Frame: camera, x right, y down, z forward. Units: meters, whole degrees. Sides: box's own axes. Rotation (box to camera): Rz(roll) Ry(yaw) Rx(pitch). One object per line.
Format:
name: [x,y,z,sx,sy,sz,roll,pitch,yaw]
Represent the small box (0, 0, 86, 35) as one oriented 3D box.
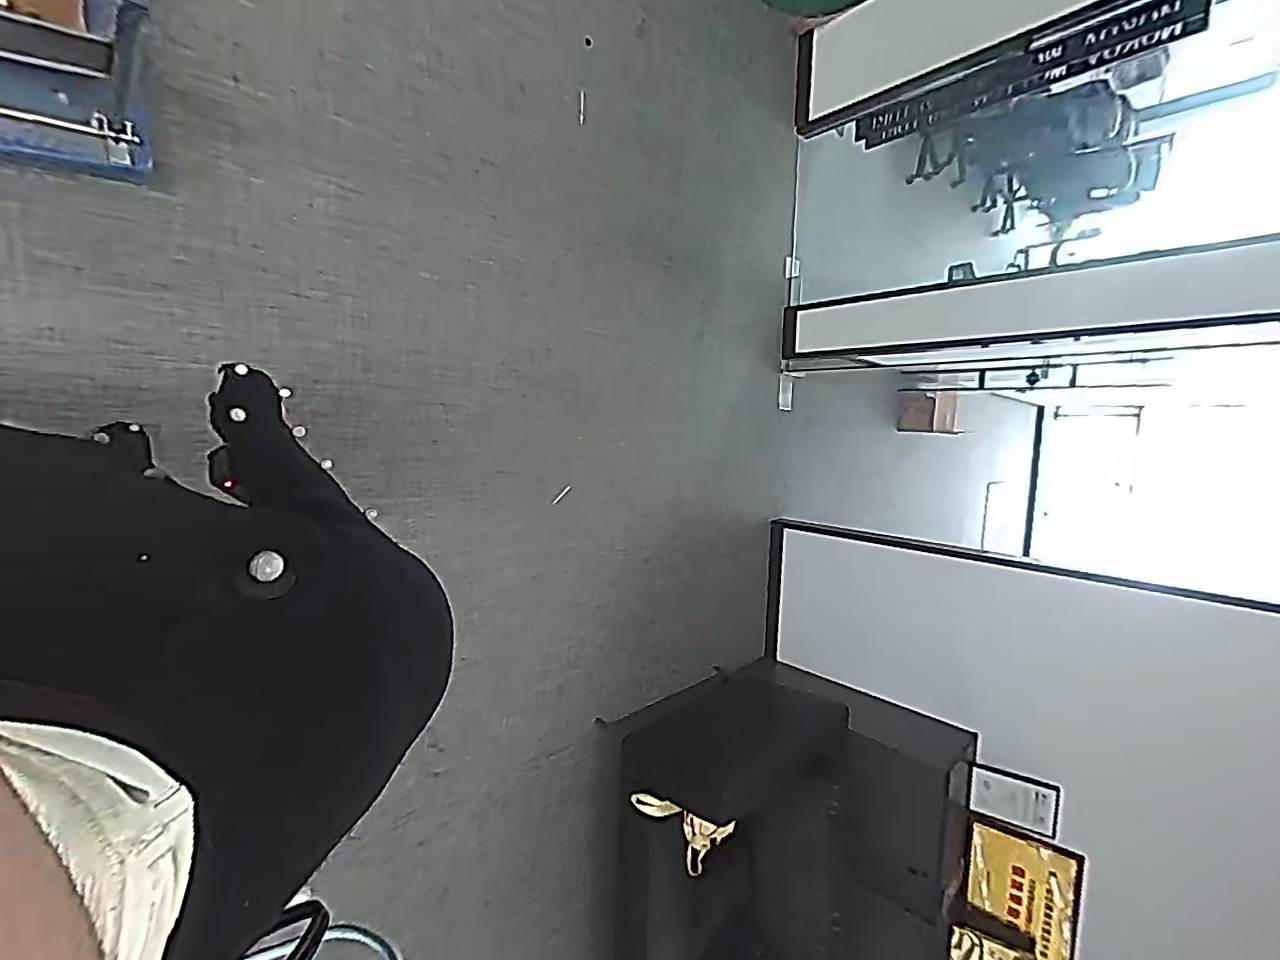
small box: [-1.020,-0.876,0.865,0.168,0.176,0.179,-11,104,-43]
